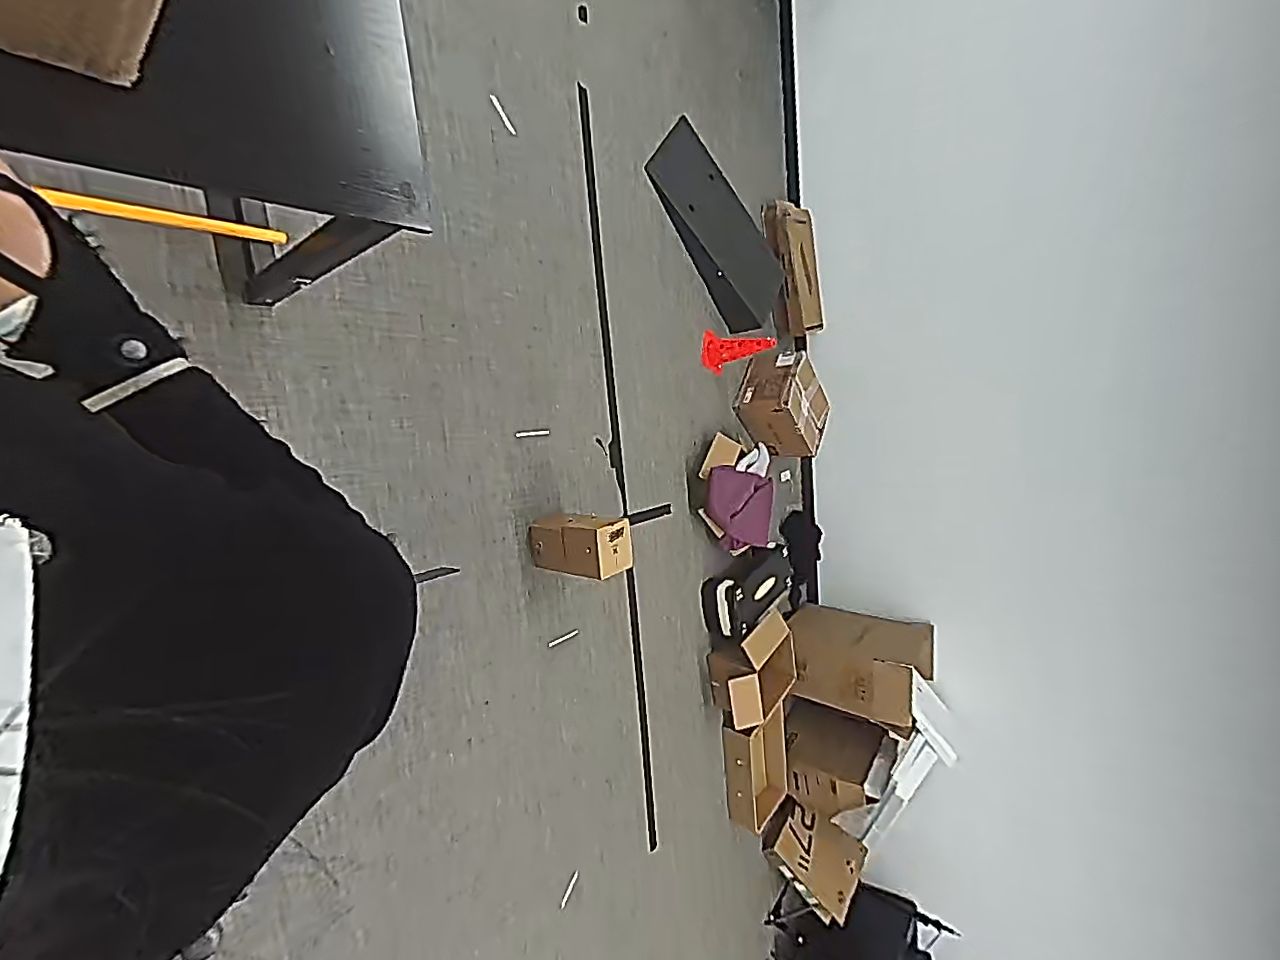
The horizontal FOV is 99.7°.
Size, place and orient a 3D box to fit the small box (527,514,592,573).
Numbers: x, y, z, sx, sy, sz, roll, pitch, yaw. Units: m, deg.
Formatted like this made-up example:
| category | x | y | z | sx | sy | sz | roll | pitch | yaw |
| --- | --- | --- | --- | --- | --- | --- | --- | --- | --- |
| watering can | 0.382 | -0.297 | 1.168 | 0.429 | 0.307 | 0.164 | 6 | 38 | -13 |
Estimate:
| category | x | y | z | sx | sy | sz | roll | pitch | yaw |
| --- | --- | --- | --- | --- | --- | --- | --- | --- | --- |
| small box | -0.283 | 0.225 | 1.976 | 0.179 | 0.176 | 0.168 | -20 | 106 | -47 |

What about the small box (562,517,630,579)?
| category | x | y | z | sx | sy | sz | roll | pitch | yaw |
| --- | --- | --- | --- | --- | --- | --- | --- | --- | --- |
| small box | -0.155 | 0.228 | 1.872 | 0.168 | 0.176 | 0.179 | -14 | 102 | -49 |
